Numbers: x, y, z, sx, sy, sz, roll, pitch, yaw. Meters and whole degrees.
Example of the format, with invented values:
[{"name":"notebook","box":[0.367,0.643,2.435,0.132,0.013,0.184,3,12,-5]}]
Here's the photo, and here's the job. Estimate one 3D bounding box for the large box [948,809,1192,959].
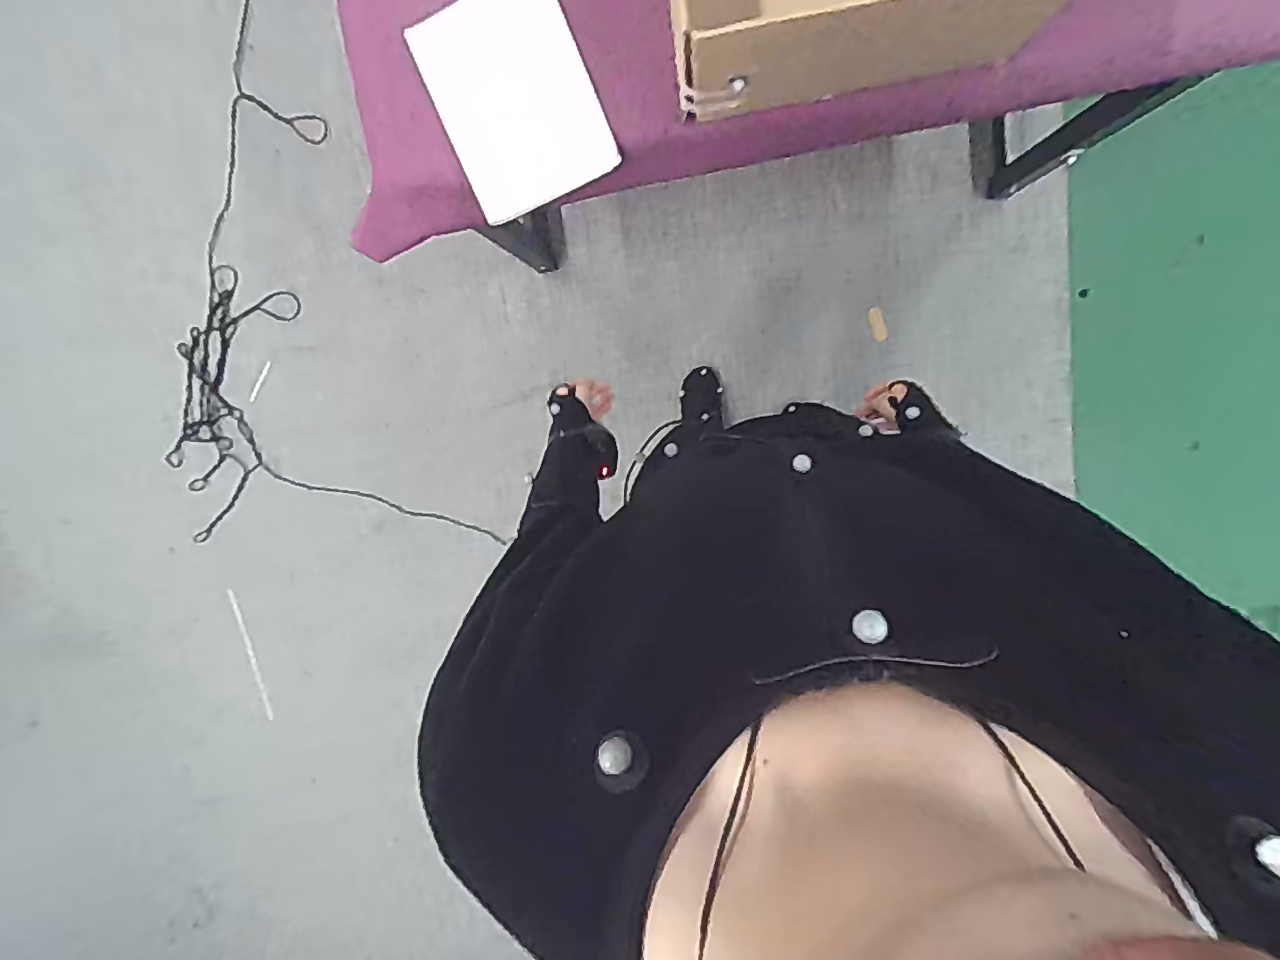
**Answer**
[{"name":"large box","box":[1.142,1.182,1.460,0.408,0.320,0.320,-22,98,8]}]
